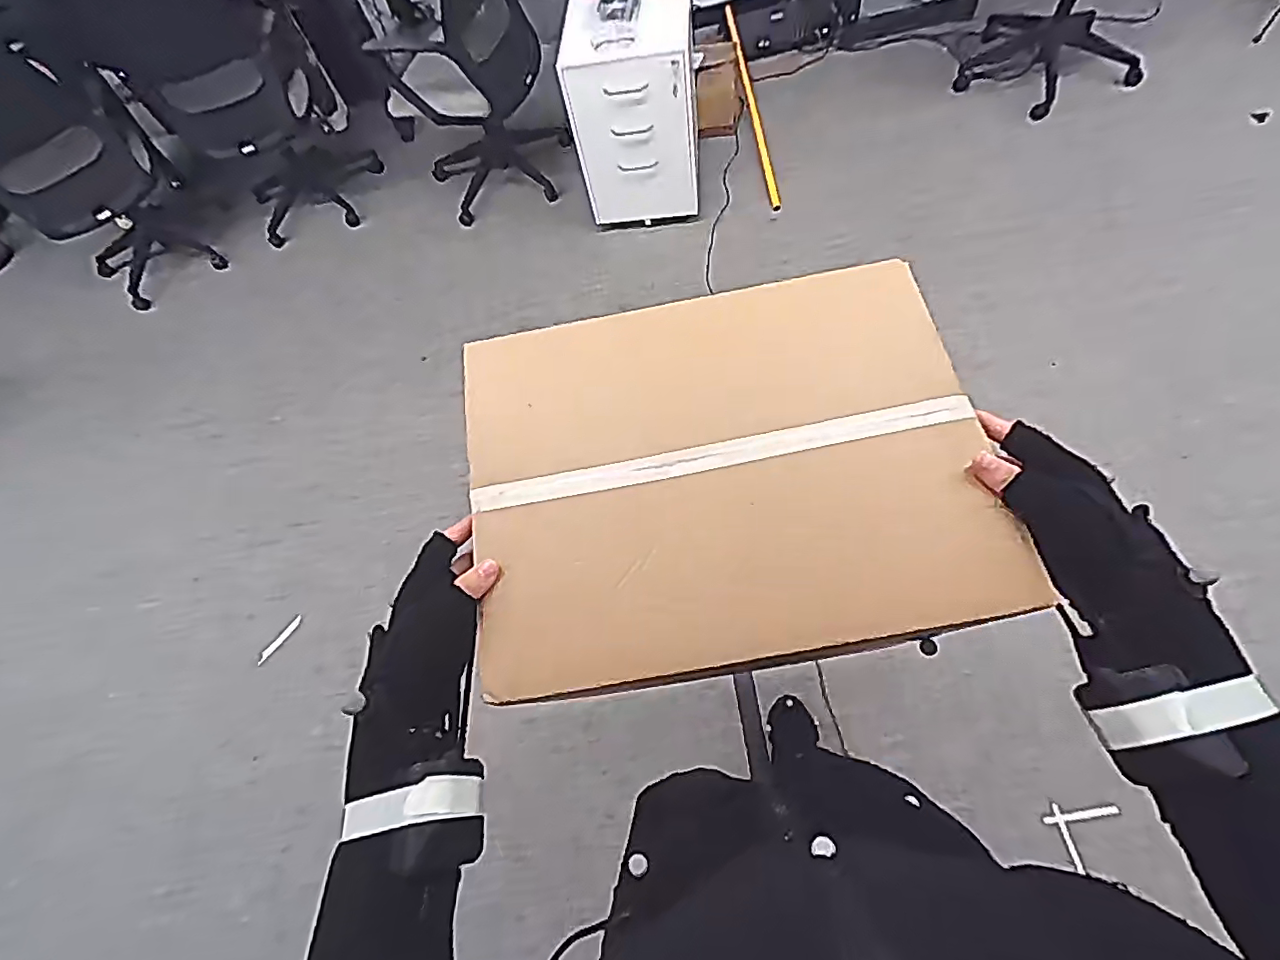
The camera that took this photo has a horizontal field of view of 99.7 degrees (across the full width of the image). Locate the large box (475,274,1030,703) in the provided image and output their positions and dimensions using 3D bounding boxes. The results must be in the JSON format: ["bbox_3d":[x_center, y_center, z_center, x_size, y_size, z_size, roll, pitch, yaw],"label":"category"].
[{"bbox_3d":[0.080,0.038,0.584,0.408,0.320,0.320,-10,68,1],"label":"large box"}]

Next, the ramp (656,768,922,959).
[{"bbox_3d":[0.320,1.098,0.962,0.509,0.206,0.991,-12,62,4],"label":"ramp"}]
